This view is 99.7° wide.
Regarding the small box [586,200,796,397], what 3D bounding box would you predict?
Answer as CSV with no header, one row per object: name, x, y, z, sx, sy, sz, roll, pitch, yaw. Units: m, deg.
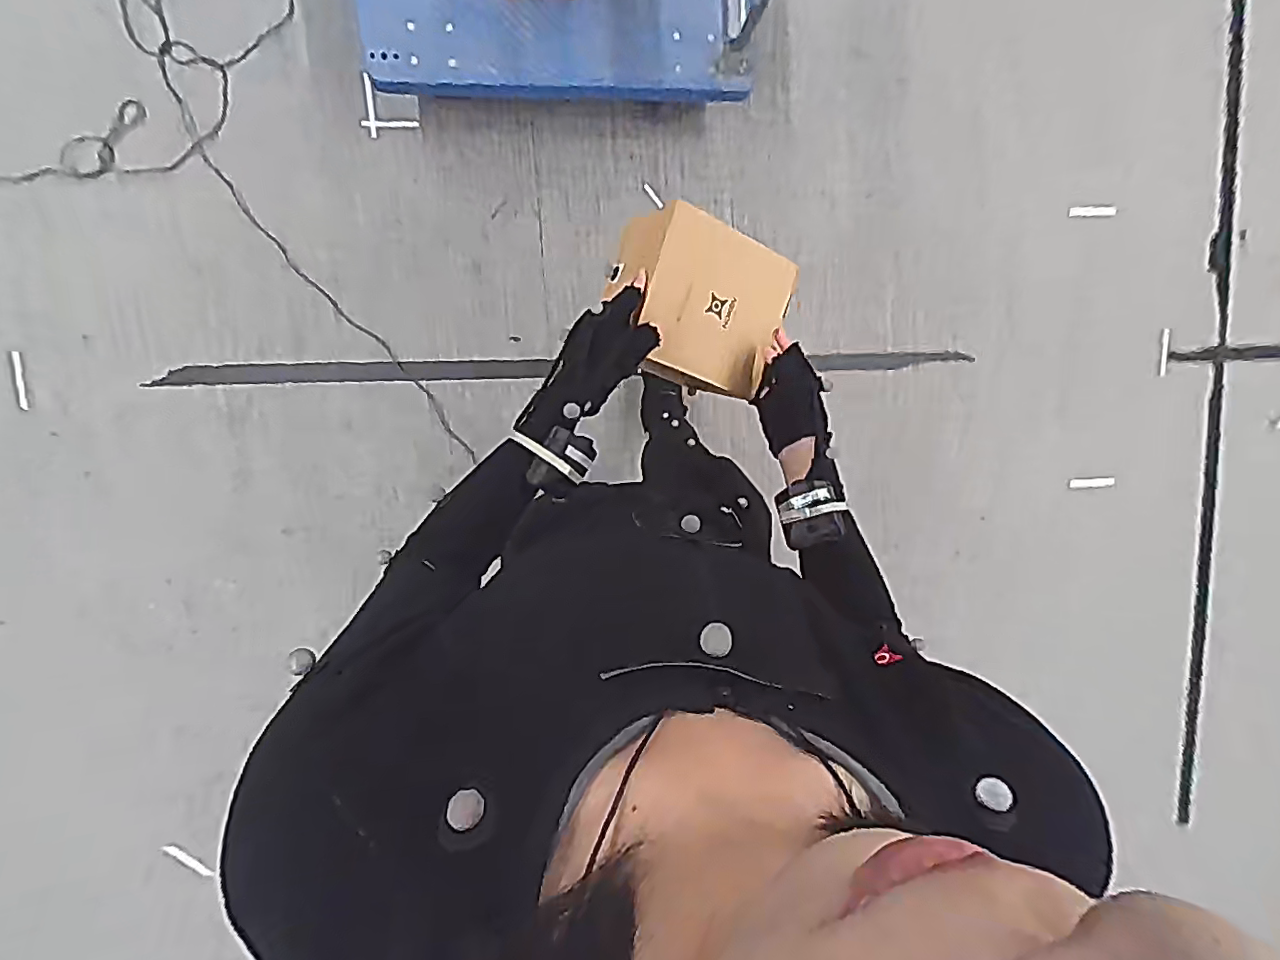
small box,0.054,-0.215,0.678,0.179,0.176,0.168,16,96,-25
